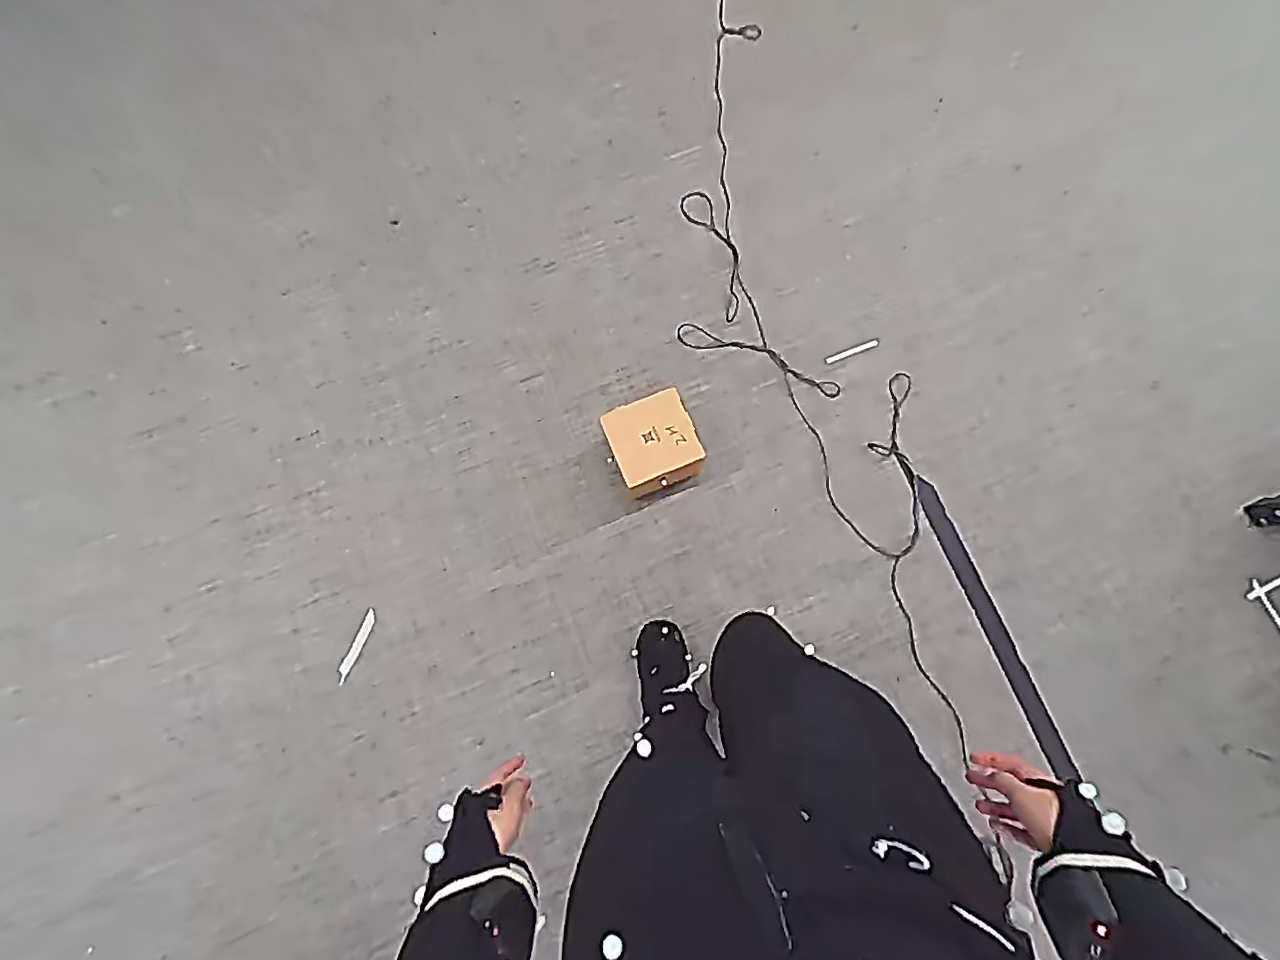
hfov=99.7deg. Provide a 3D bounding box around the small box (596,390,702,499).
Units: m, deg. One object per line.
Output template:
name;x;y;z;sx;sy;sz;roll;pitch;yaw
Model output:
small box;0.019;-0.070;1.185;0.179;0.176;0.168;-22;81;-4
